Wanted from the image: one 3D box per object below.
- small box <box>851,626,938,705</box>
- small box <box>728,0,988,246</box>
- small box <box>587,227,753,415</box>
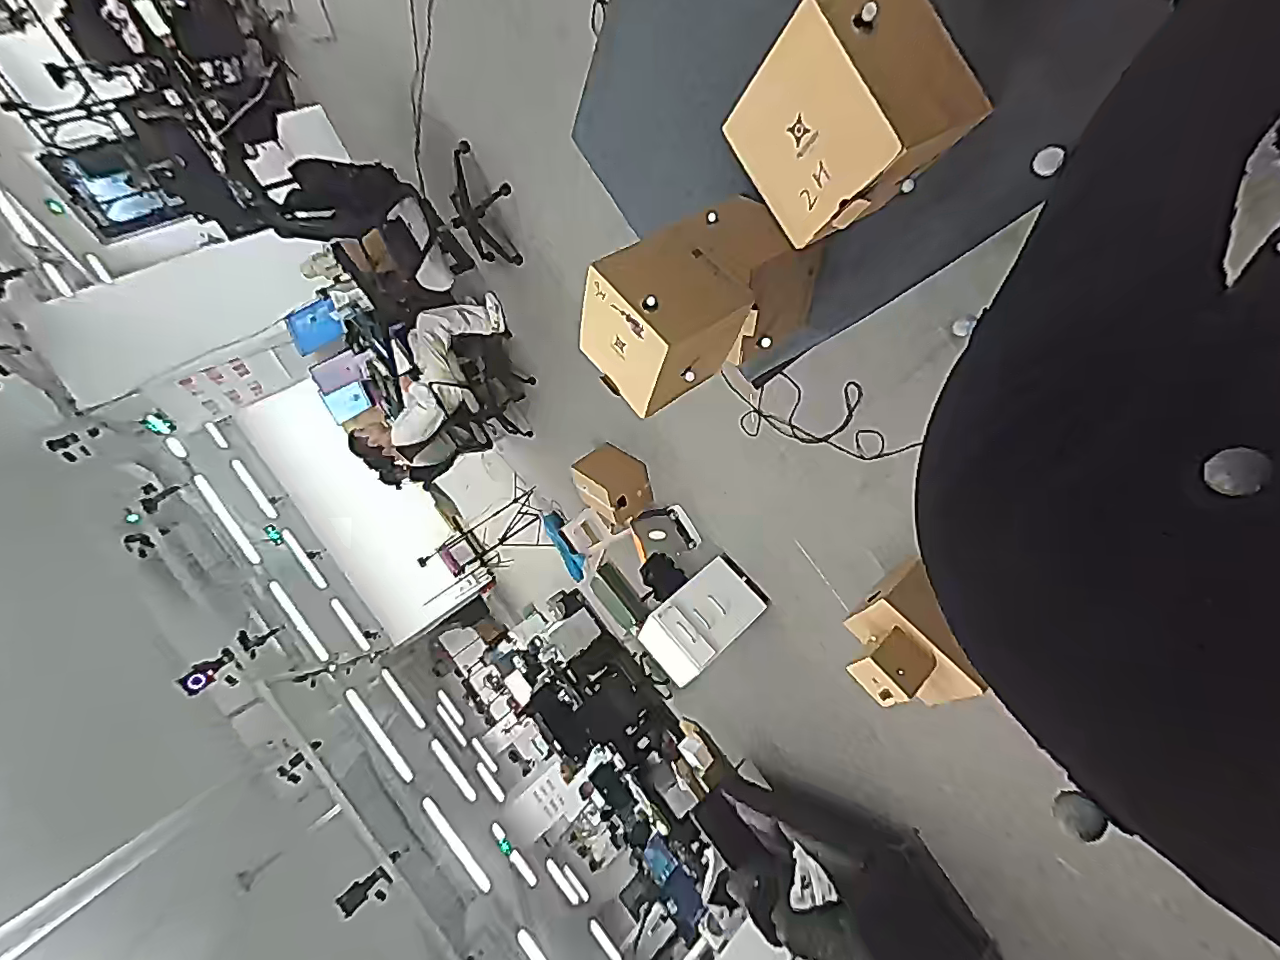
[{"bbox_3d":[0.871,0.632,1.844,0.179,0.176,0.168,47,153,17],"label":"small box"},{"bbox_3d":[0.241,-0.409,0.612,0.179,0.176,0.168,56,157,-2],"label":"small box"},{"bbox_3d":[0.040,-0.234,0.805,0.168,0.176,0.179,49,156,14],"label":"small box"}]
